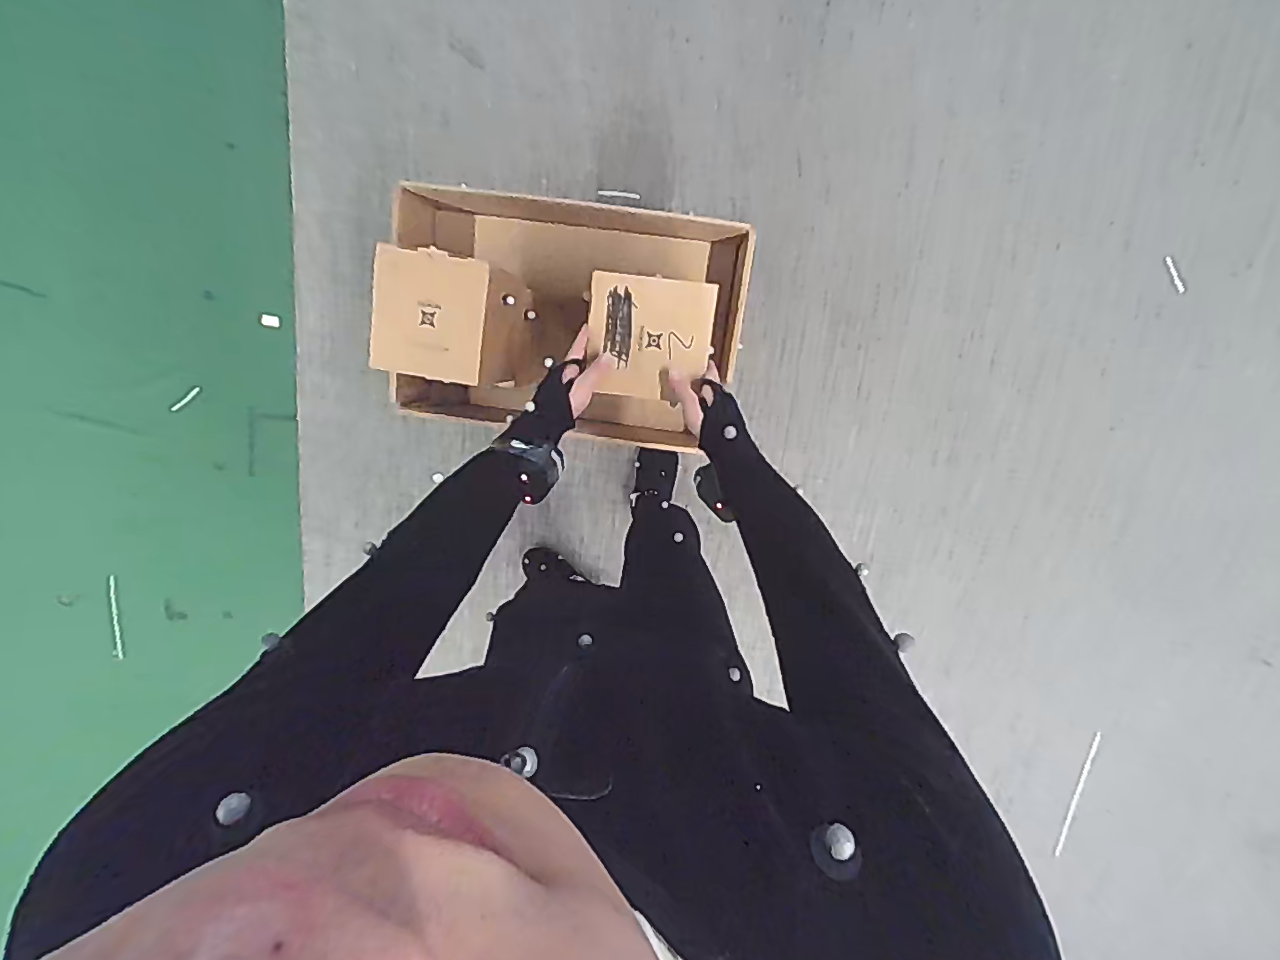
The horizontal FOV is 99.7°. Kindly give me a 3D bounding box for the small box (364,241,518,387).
[{"bbox_3d":[-0.297,-0.248,0.838,0.168,0.176,0.179,11,103,2],"label":"small box"}]
